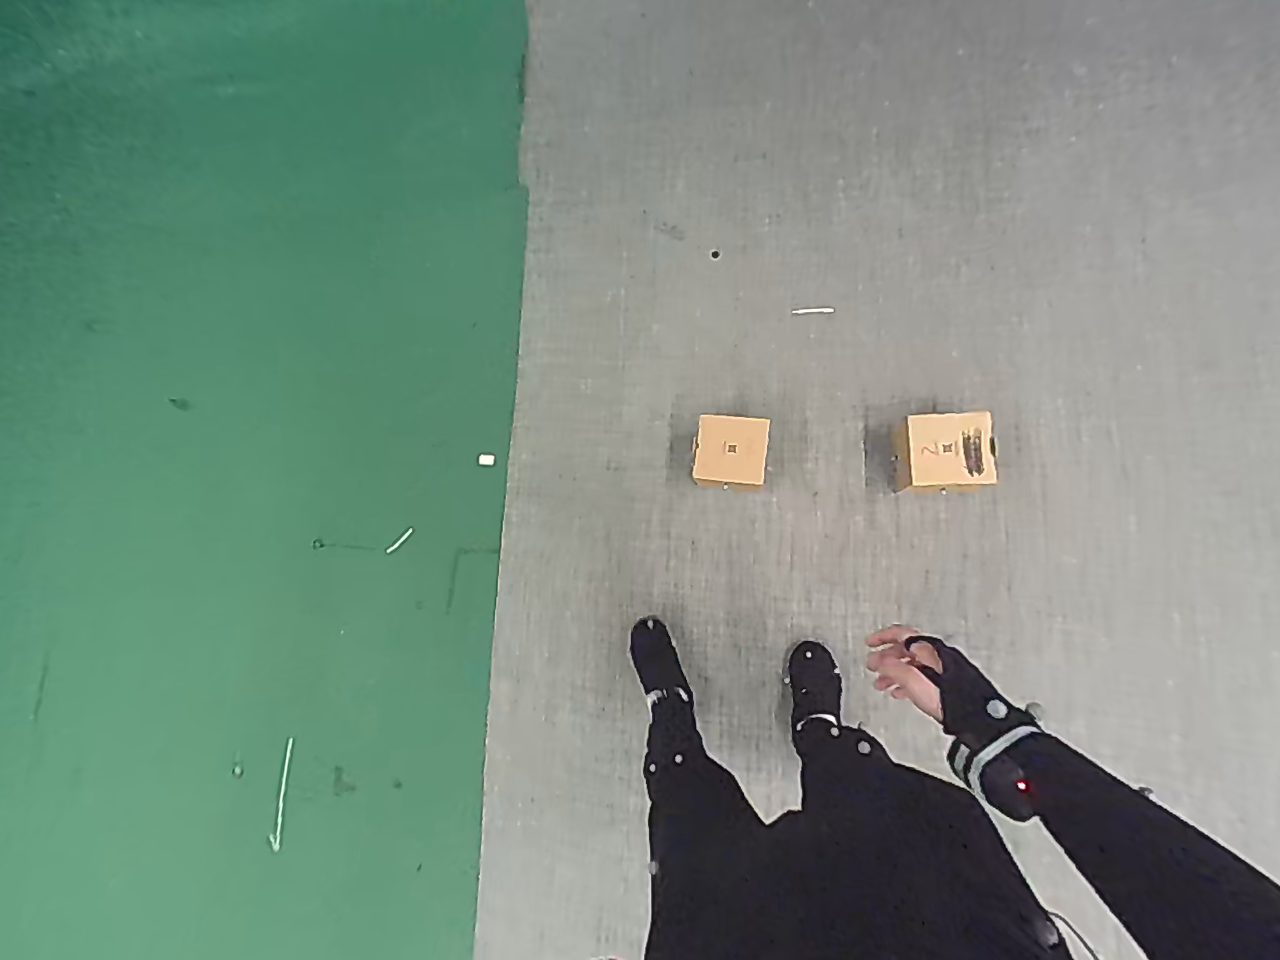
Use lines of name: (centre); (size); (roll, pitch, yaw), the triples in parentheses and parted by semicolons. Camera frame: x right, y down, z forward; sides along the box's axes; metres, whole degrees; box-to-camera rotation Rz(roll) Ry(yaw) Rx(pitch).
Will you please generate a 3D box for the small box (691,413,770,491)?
small box: (0.239, -0.068, 1.409); (0.179, 0.176, 0.168); (7, 83, 13)
